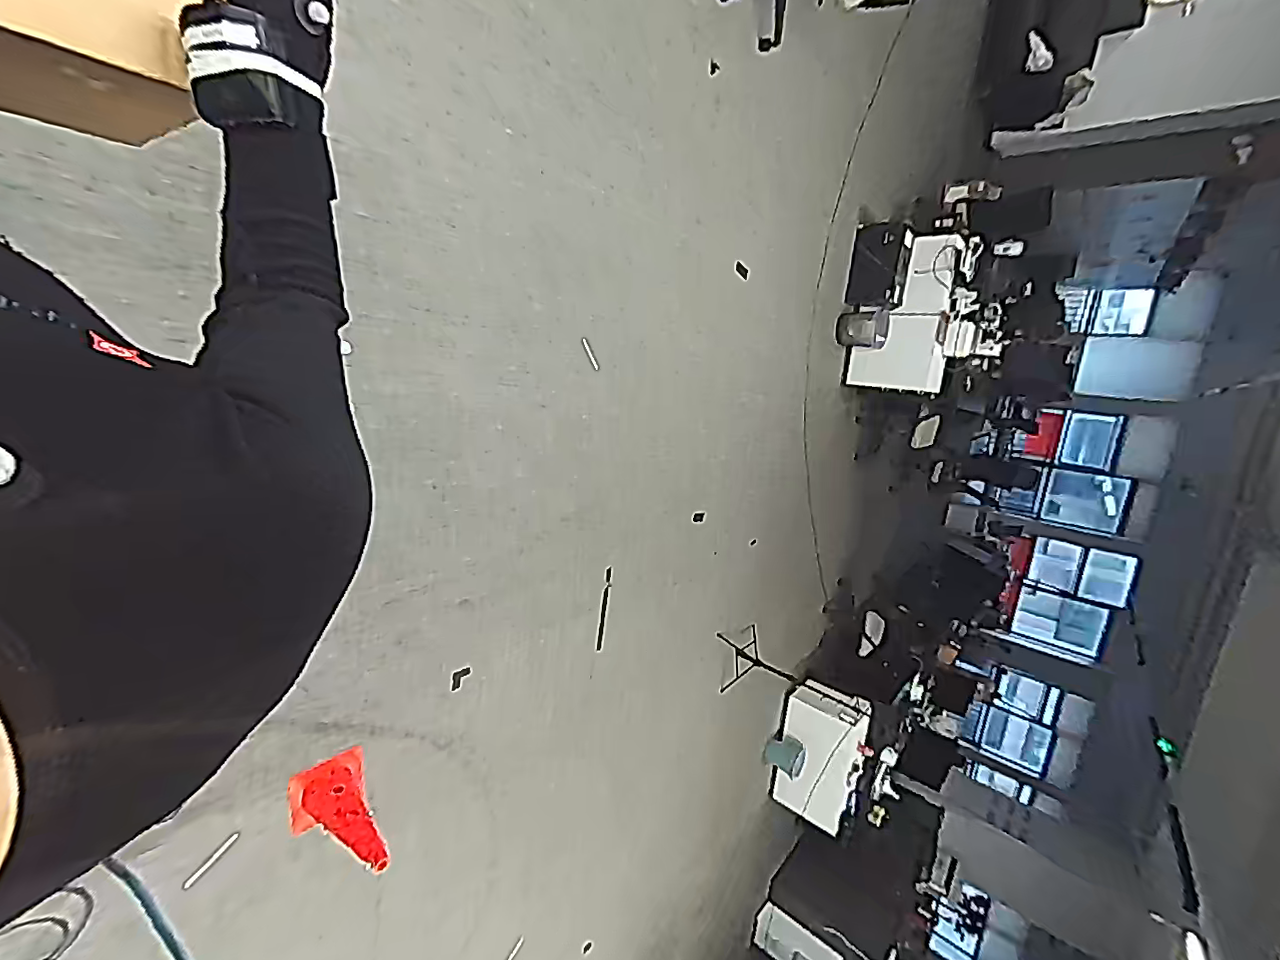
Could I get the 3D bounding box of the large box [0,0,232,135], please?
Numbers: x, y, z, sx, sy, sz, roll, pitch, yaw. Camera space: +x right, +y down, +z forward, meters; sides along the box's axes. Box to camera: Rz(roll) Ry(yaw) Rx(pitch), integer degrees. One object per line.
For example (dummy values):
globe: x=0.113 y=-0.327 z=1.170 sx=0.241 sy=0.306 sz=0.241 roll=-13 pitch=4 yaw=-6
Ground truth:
large box: x=-0.520 y=-0.438 z=0.289 sx=0.408 sy=0.320 sz=0.320 roll=-12 pitch=115 yaw=-51

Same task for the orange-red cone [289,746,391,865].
orange-red cone: x=-0.798 y=0.946 z=1.504 sx=0.198 sy=0.360 sz=0.199 roll=-11 pitch=109 yaw=-50
